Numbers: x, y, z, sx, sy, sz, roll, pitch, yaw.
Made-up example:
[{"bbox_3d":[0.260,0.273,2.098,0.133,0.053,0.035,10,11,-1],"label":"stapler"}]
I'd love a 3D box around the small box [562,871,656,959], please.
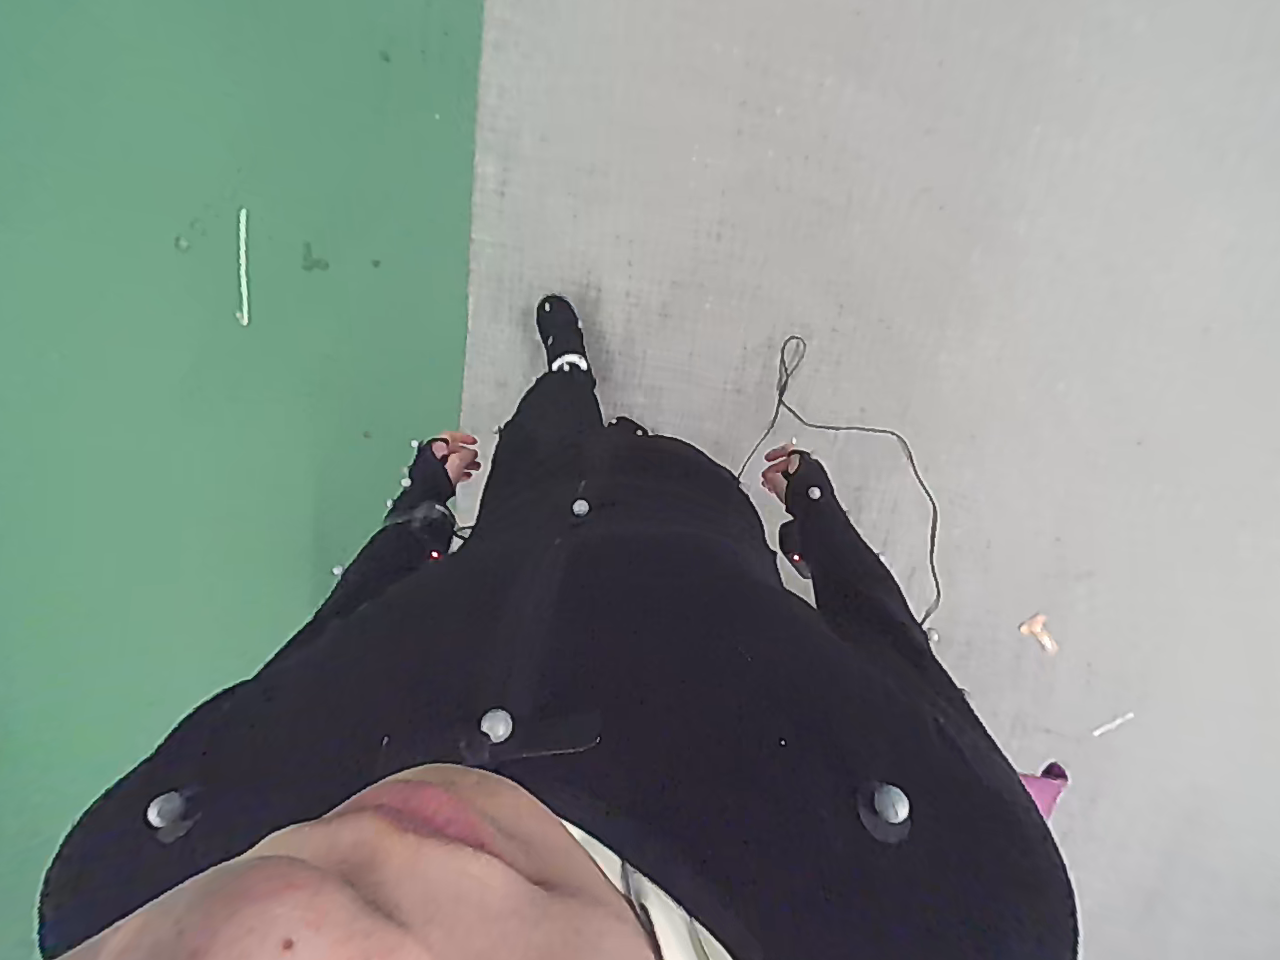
[{"bbox_3d":[-0.062,0.910,1.044,0.168,0.176,0.179,8,104,1],"label":"small box"}]
